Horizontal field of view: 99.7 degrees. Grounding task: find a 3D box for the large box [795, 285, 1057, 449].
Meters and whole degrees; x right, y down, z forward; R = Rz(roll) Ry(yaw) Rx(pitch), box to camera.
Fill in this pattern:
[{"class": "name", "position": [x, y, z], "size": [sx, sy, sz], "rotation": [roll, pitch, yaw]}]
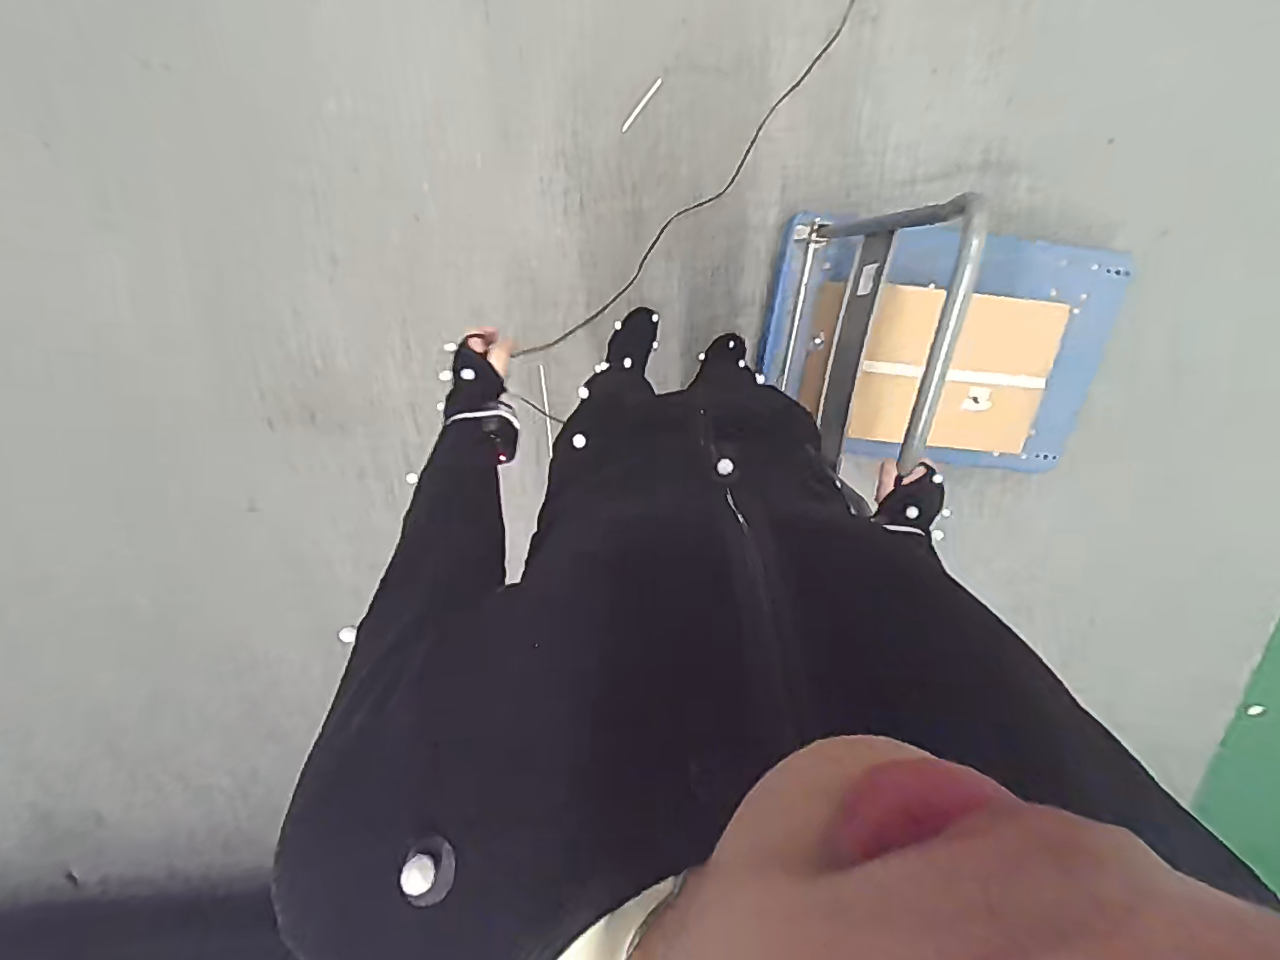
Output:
[{"class": "large box", "position": [0.619, -0.271, 1.257], "size": [0.408, 0.320, 0.320], "rotation": [5, 110, -4]}]
